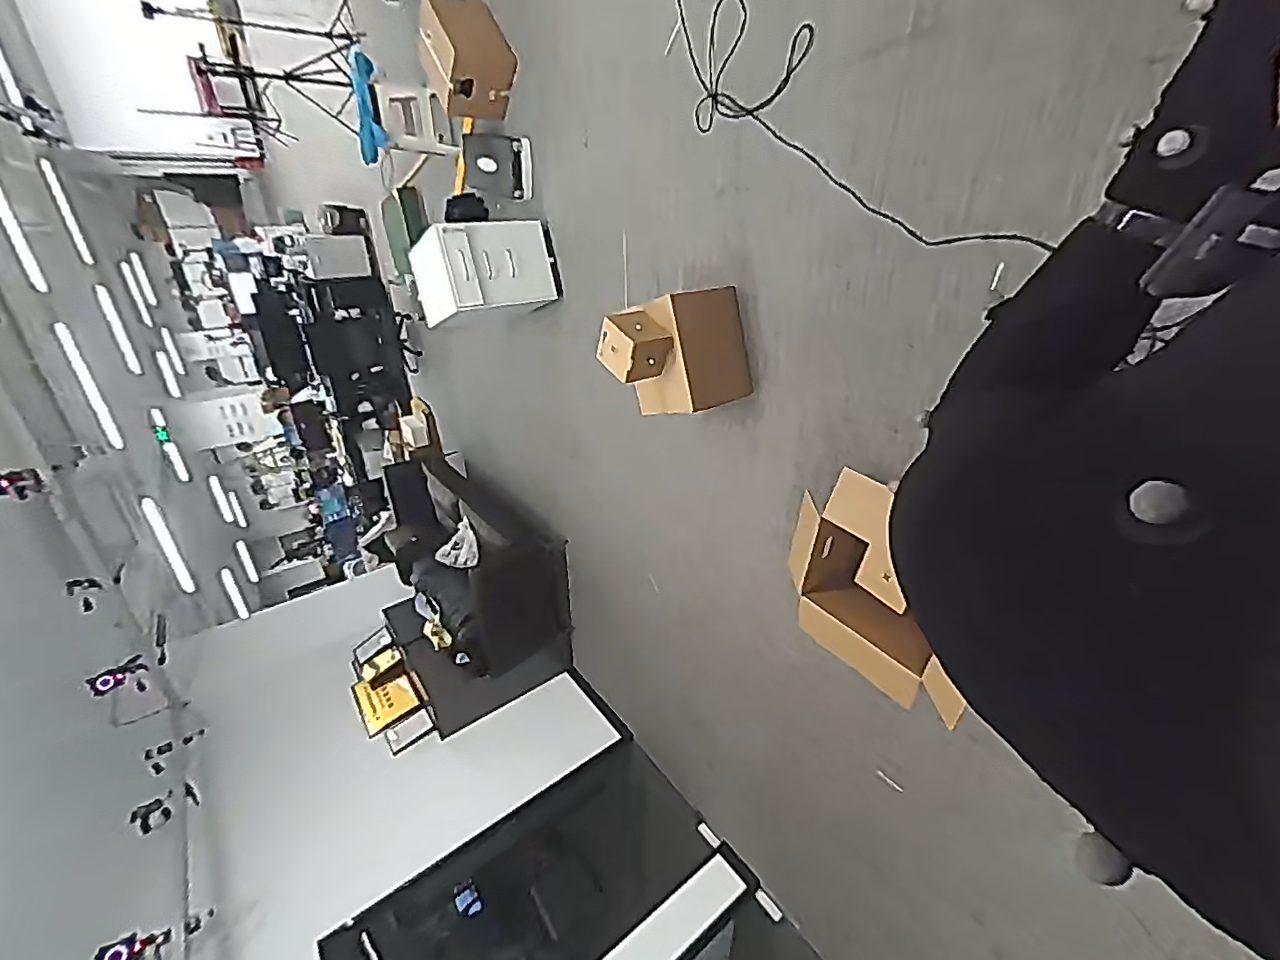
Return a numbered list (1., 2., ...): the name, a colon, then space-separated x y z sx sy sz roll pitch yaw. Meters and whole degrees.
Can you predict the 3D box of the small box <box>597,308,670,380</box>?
1. small box: -0.021 -0.479 1.874 0.179 0.176 0.168 47 141 28
